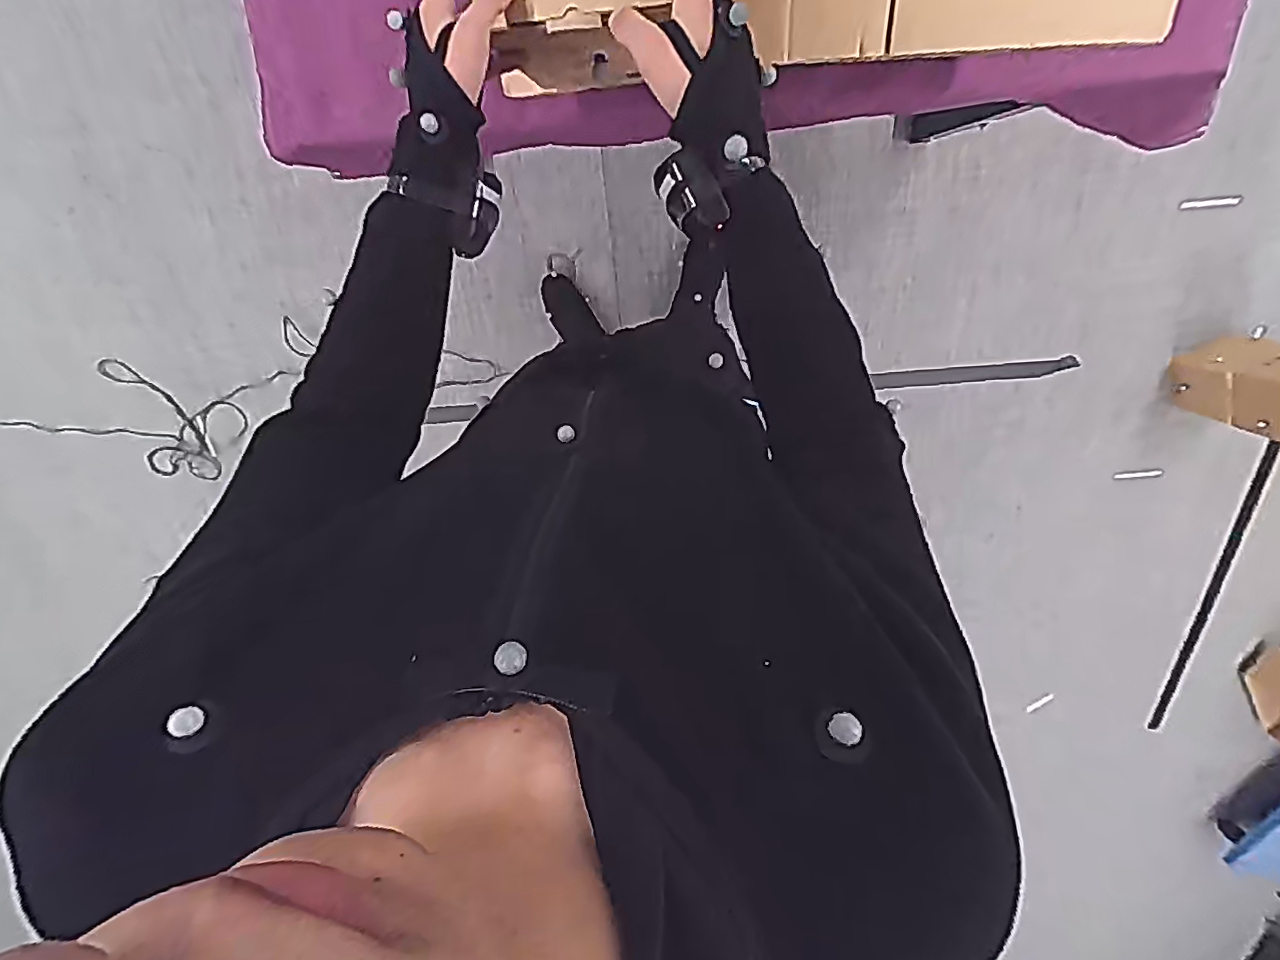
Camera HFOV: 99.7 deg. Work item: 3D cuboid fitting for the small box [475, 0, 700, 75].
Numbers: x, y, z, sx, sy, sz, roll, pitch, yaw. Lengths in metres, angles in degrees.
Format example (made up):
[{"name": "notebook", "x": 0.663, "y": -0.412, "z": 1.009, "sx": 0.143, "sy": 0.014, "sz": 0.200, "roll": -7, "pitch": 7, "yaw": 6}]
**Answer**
[{"name": "small box", "x": -0.037, "y": -0.467, "z": 0.456, "sx": 0.168, "sy": 0.176, "sz": 0.179, "roll": 2, "pitch": 113, "yaw": 10}]
